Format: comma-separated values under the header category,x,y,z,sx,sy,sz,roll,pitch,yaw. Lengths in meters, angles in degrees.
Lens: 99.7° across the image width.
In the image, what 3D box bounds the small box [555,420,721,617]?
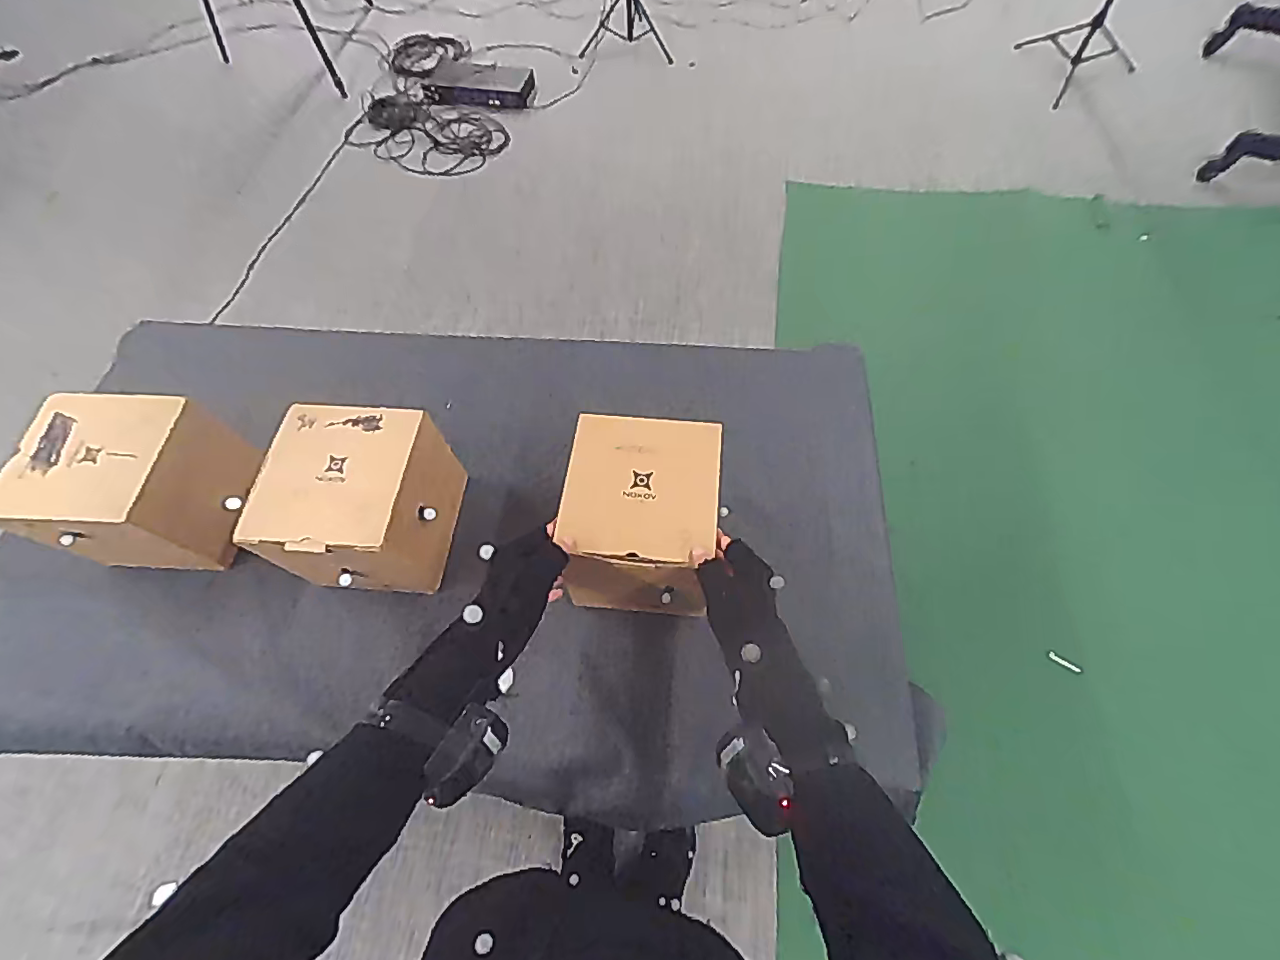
category,x,y,z,sx,sy,sz,roll,pitch,yaw
small box,0.005,0.052,0.647,0.168,0.176,0.179,4,57,4

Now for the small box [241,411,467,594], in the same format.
category,x,y,z,sx,sy,sz,roll,pitch,yaw
small box,-0.333,0.035,0.675,0.168,0.176,0.179,4,63,4

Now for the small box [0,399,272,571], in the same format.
category,x,y,z,sx,sy,sz,roll,pitch,yaw
small box,-0.624,0.013,0.695,0.179,0.176,0.168,2,63,2
